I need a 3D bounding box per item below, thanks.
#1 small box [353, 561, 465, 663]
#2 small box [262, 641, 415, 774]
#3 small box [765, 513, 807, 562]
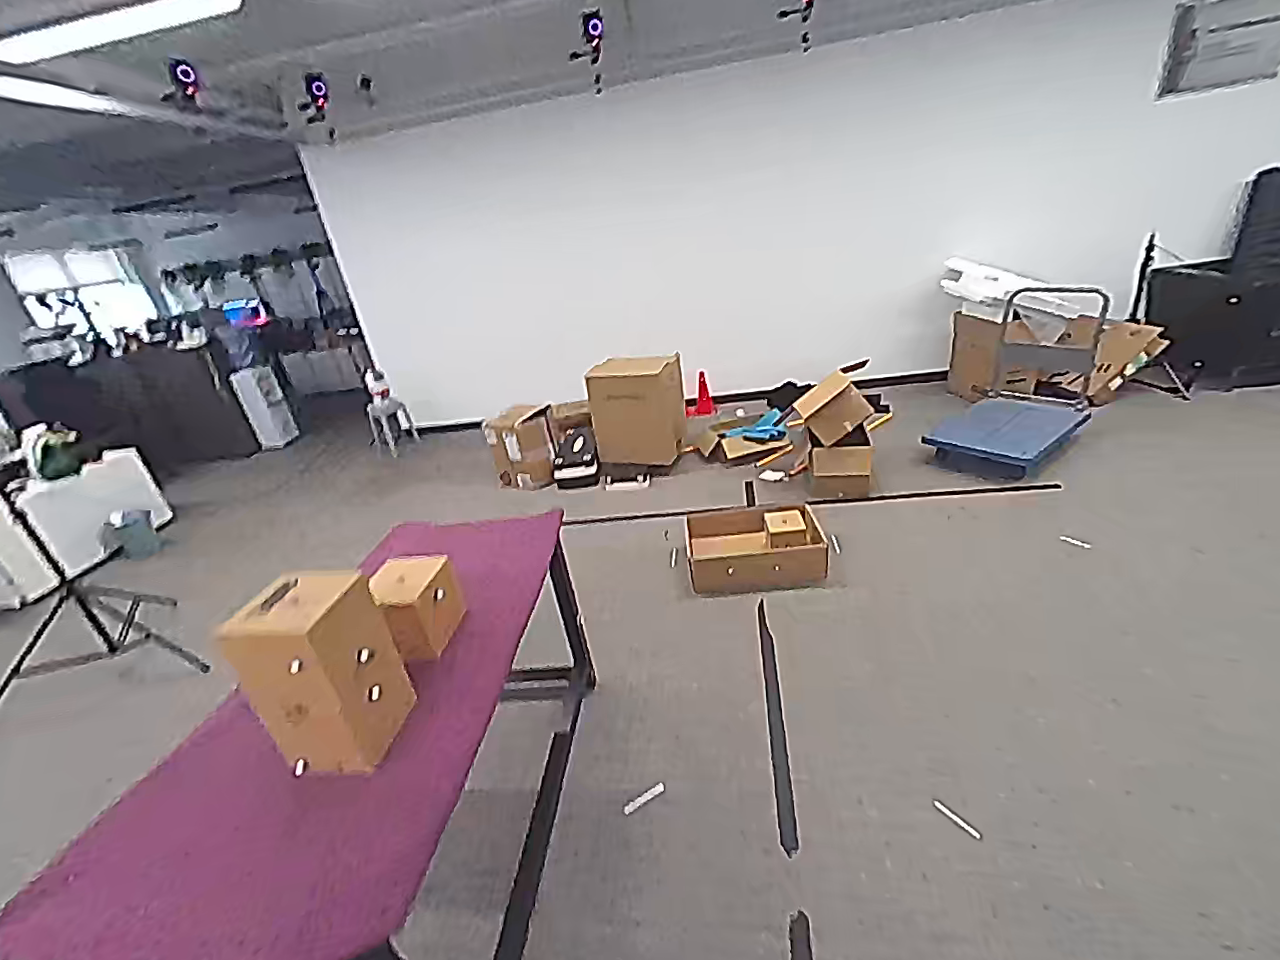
[{"bbox_3d":[-0.540,0.314,1.296,0.168,0.176,0.179,-5,26,10],"label":"small box"},{"bbox_3d":[-0.563,0.437,1.040,0.168,0.176,0.179,-5,25,9],"label":"small box"},{"bbox_3d":[0.688,0.276,2.546,0.168,0.176,0.179,-6,24,6],"label":"small box"}]
